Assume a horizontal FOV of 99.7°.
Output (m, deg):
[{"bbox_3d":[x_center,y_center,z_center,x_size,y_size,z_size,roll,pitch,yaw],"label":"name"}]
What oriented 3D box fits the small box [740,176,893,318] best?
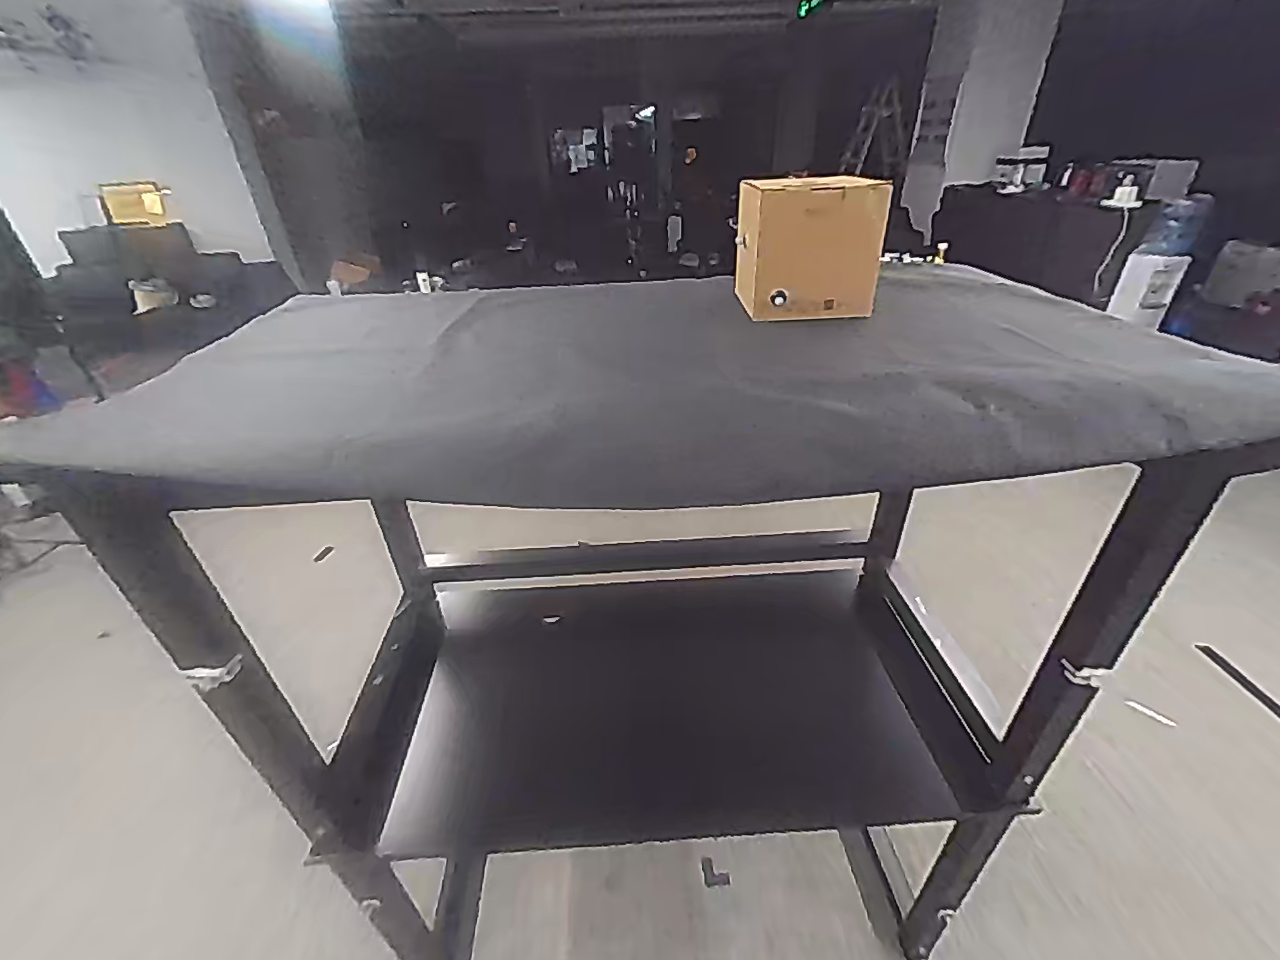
[{"bbox_3d":[0.241,-0.338,0.786,0.168,0.176,0.179,-1,32,1],"label":"small box"}]
